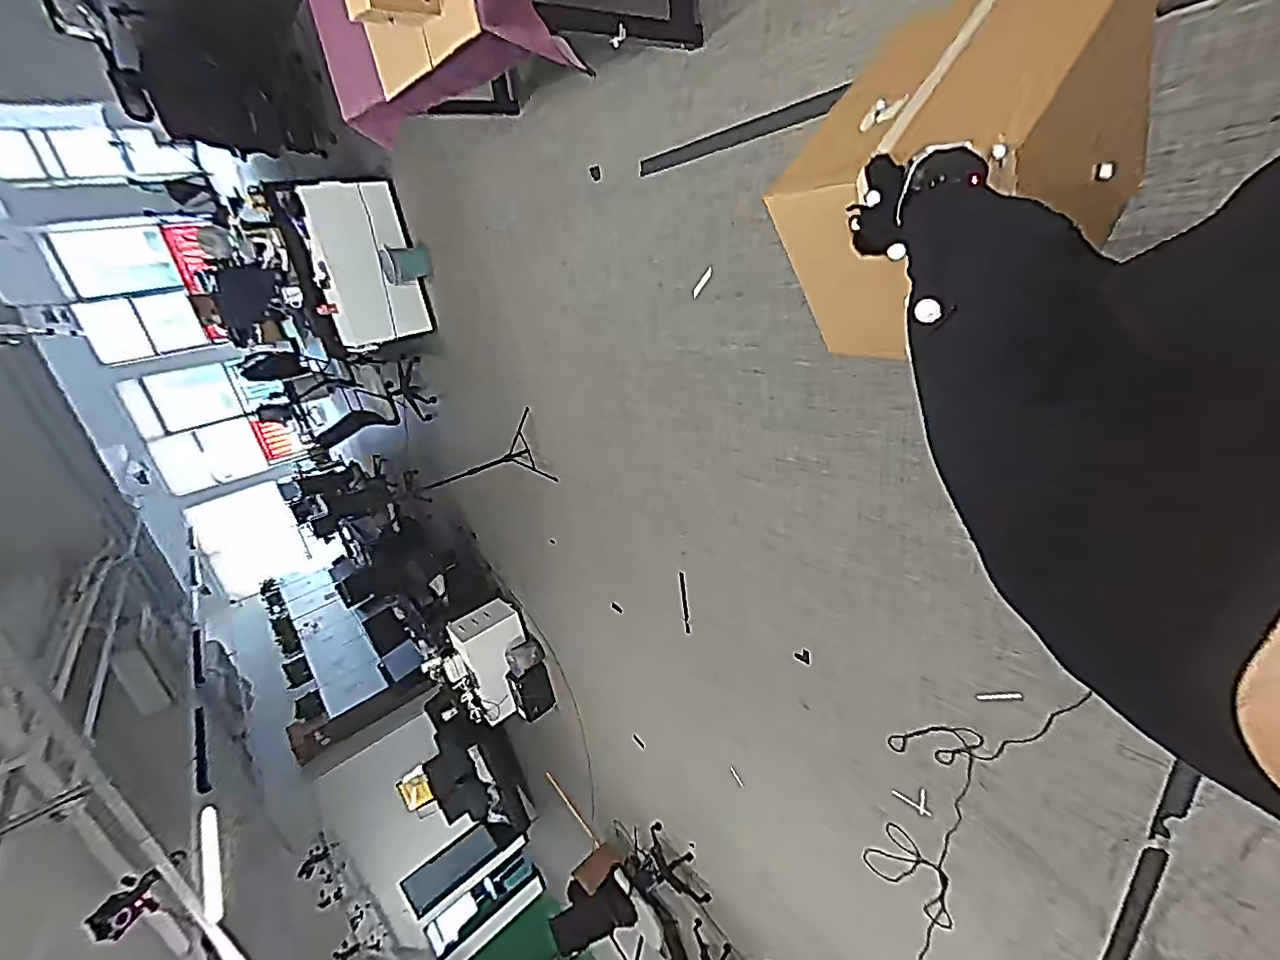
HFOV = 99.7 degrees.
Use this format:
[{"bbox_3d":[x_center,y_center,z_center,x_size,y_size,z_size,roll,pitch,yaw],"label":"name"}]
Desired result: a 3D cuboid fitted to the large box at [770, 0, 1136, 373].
[{"bbox_3d":[0.467,-0.422,0.801,0.320,0.408,0.320,21,160,48],"label":"large box"}]
